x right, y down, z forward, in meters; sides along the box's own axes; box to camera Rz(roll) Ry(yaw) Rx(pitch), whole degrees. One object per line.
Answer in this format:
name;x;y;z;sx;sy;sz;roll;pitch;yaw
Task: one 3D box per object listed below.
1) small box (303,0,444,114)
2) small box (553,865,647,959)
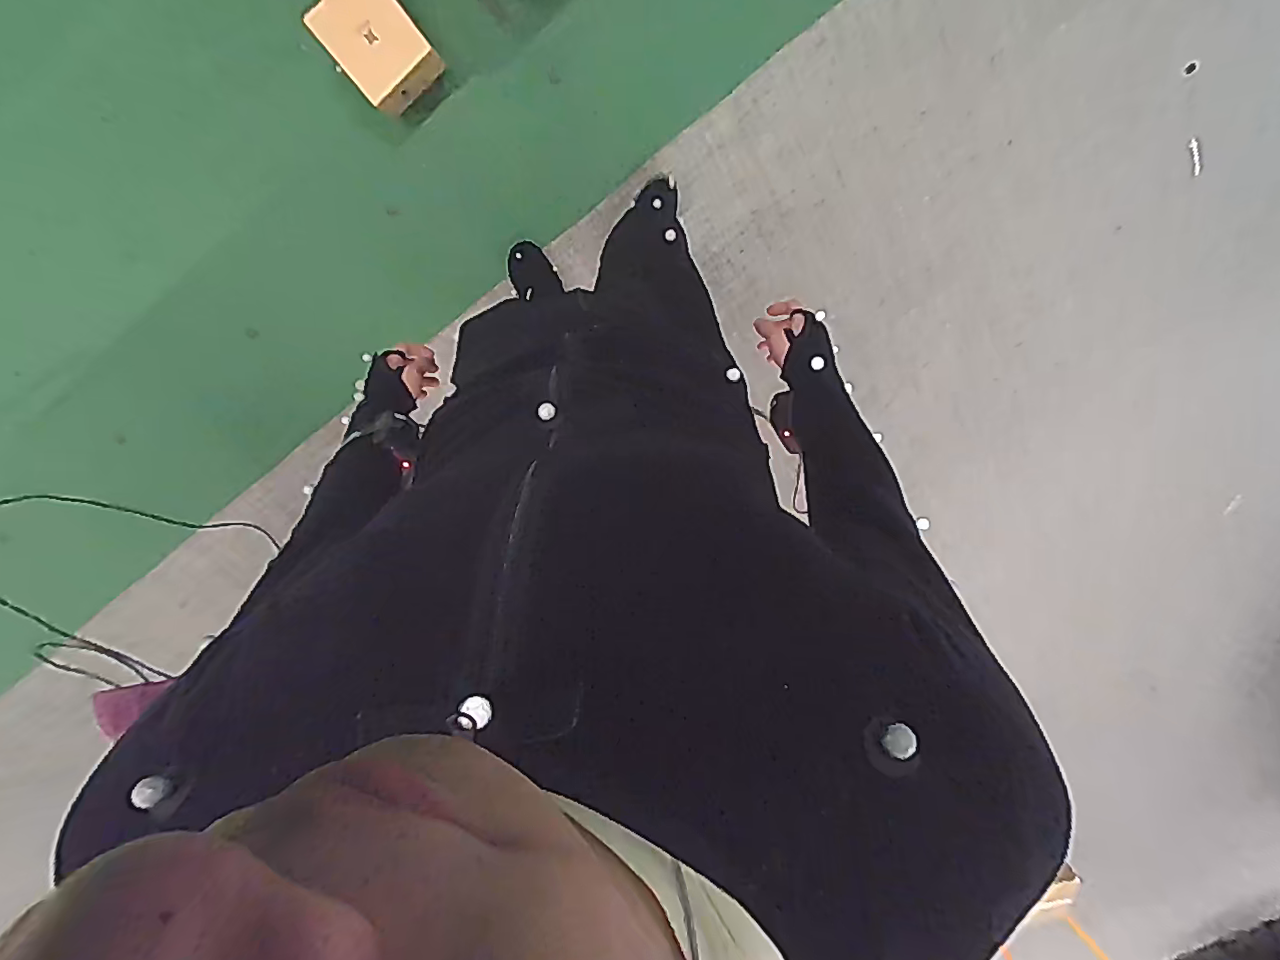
small box;-0.535;-0.894;1.116;0.168;0.176;0.179;-37;114;11
small box;-0.107;1.112;1.359;0.168;0.176;0.179;-36;116;10
